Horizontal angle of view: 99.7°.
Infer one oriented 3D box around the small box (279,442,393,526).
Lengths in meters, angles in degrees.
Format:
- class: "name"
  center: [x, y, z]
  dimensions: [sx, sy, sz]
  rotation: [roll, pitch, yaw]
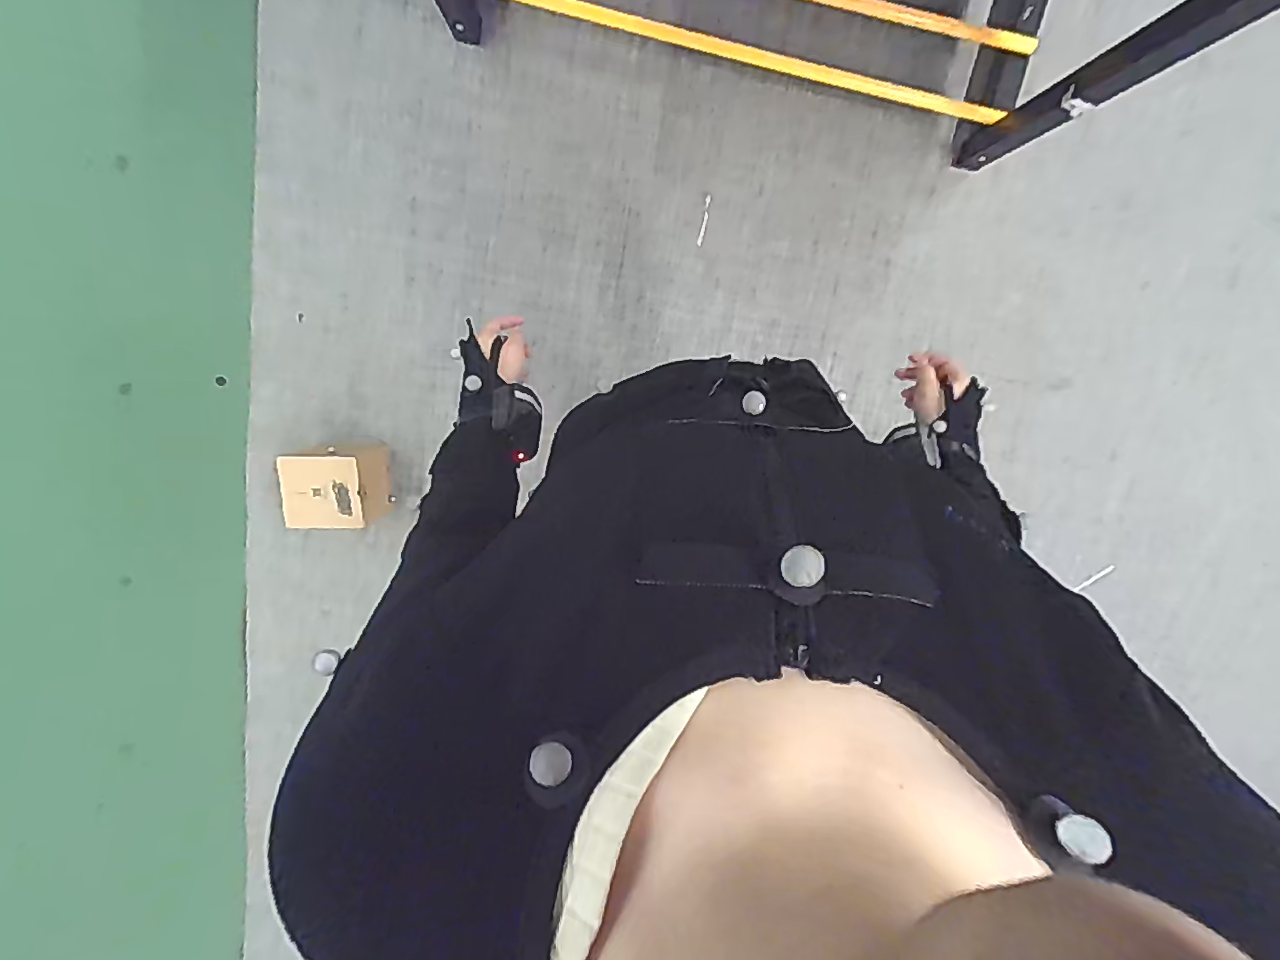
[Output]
- class: "small box"
  center: [-0.693, 0.003, 1.260]
  dimensions: [0.179, 0.176, 0.168]
  rotation: [0, 103, -1]
